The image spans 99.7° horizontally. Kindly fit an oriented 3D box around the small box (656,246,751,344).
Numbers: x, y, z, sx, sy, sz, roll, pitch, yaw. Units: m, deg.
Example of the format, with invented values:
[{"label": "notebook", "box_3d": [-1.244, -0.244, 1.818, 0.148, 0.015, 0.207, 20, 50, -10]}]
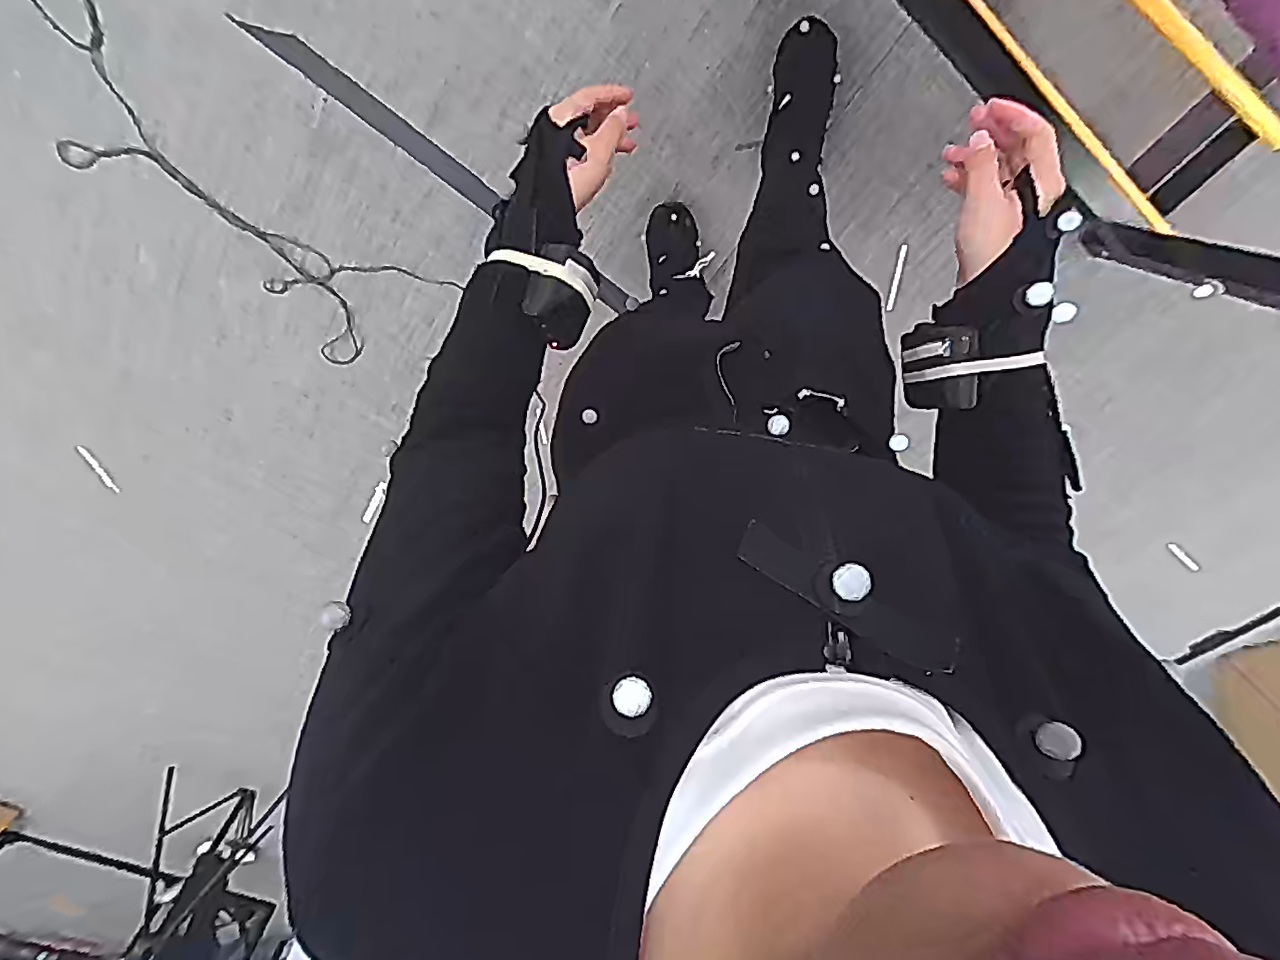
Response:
[{"label": "small box", "box_3d": [0.125, -0.388, 1.125, 0.179, 0.176, 0.168, -2, 120, 1]}]
